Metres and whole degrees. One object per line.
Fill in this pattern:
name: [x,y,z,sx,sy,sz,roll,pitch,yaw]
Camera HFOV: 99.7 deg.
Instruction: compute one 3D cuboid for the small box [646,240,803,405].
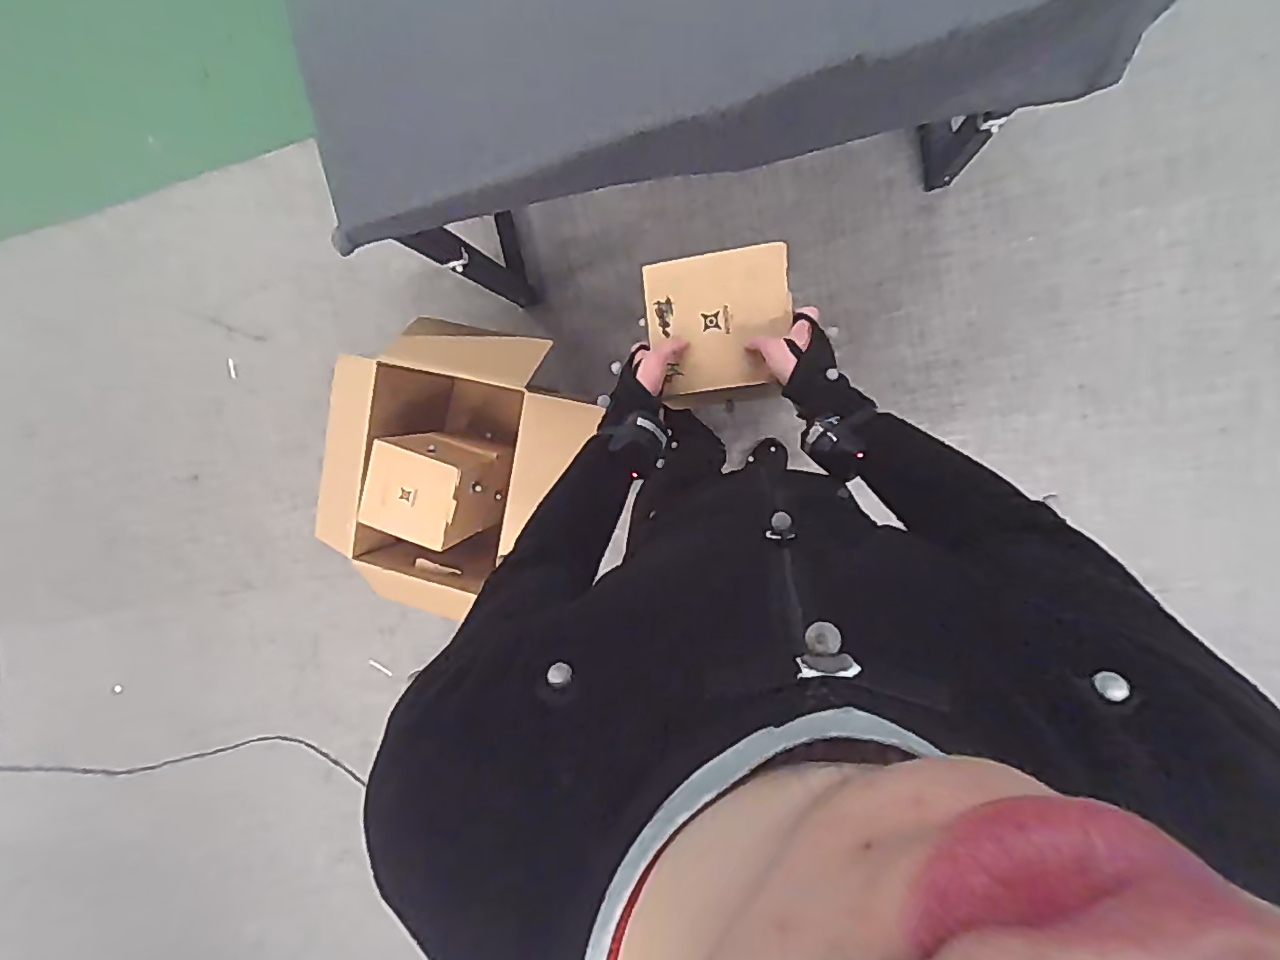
small box: [0.113,-0.196,0.725,0.179,0.176,0.168,-5,91,11]
